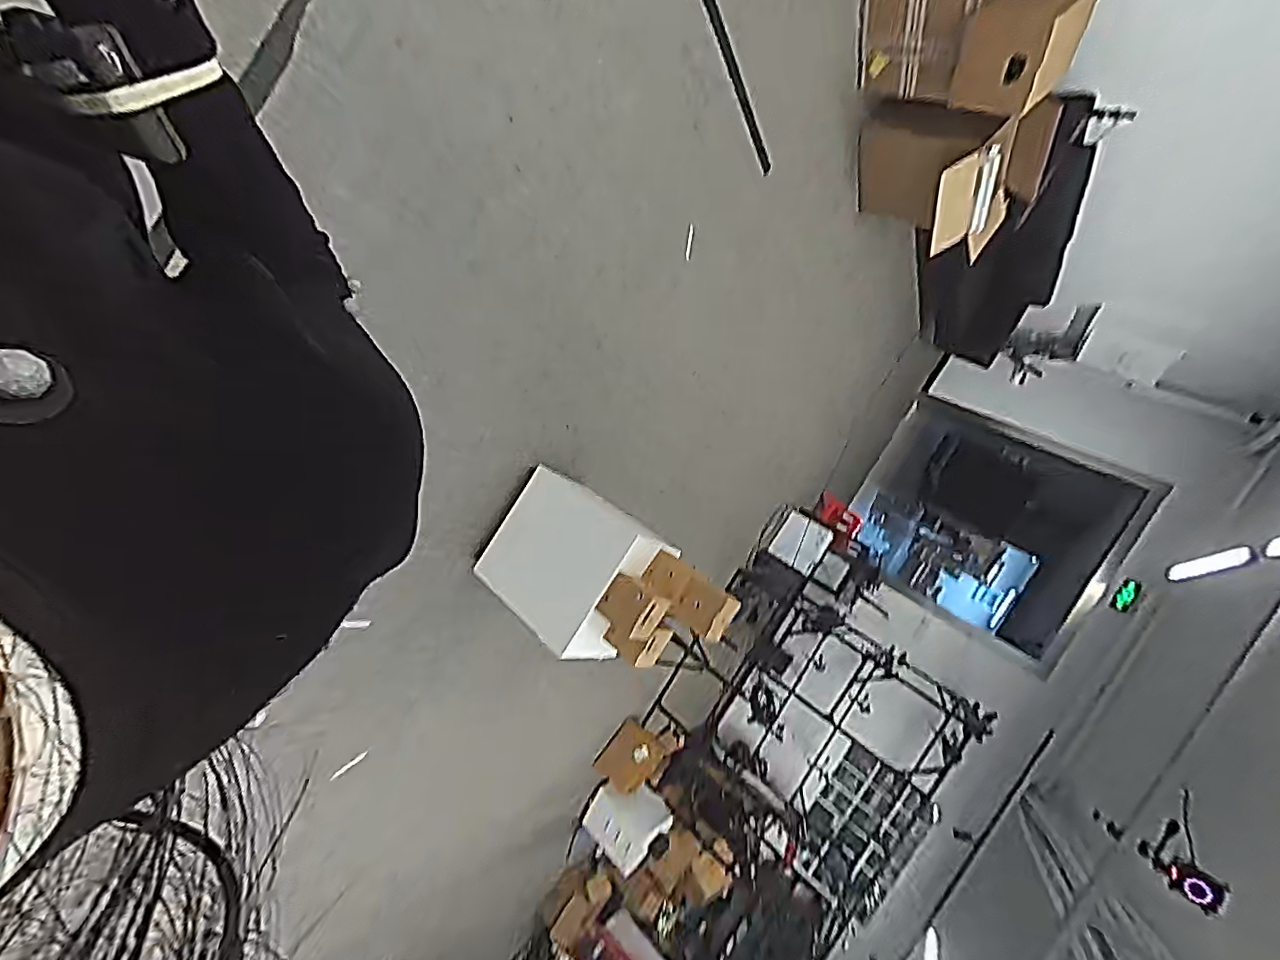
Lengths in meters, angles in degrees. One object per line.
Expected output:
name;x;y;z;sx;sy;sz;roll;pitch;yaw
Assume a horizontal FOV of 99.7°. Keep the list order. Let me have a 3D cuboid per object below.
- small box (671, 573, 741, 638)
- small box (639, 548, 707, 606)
small box;0.241;0.464;2.004;0.168;0.176;0.179;-56;148;-1
small box;0.123;0.380;2.082;0.168;0.176;0.179;-56;149;-2
